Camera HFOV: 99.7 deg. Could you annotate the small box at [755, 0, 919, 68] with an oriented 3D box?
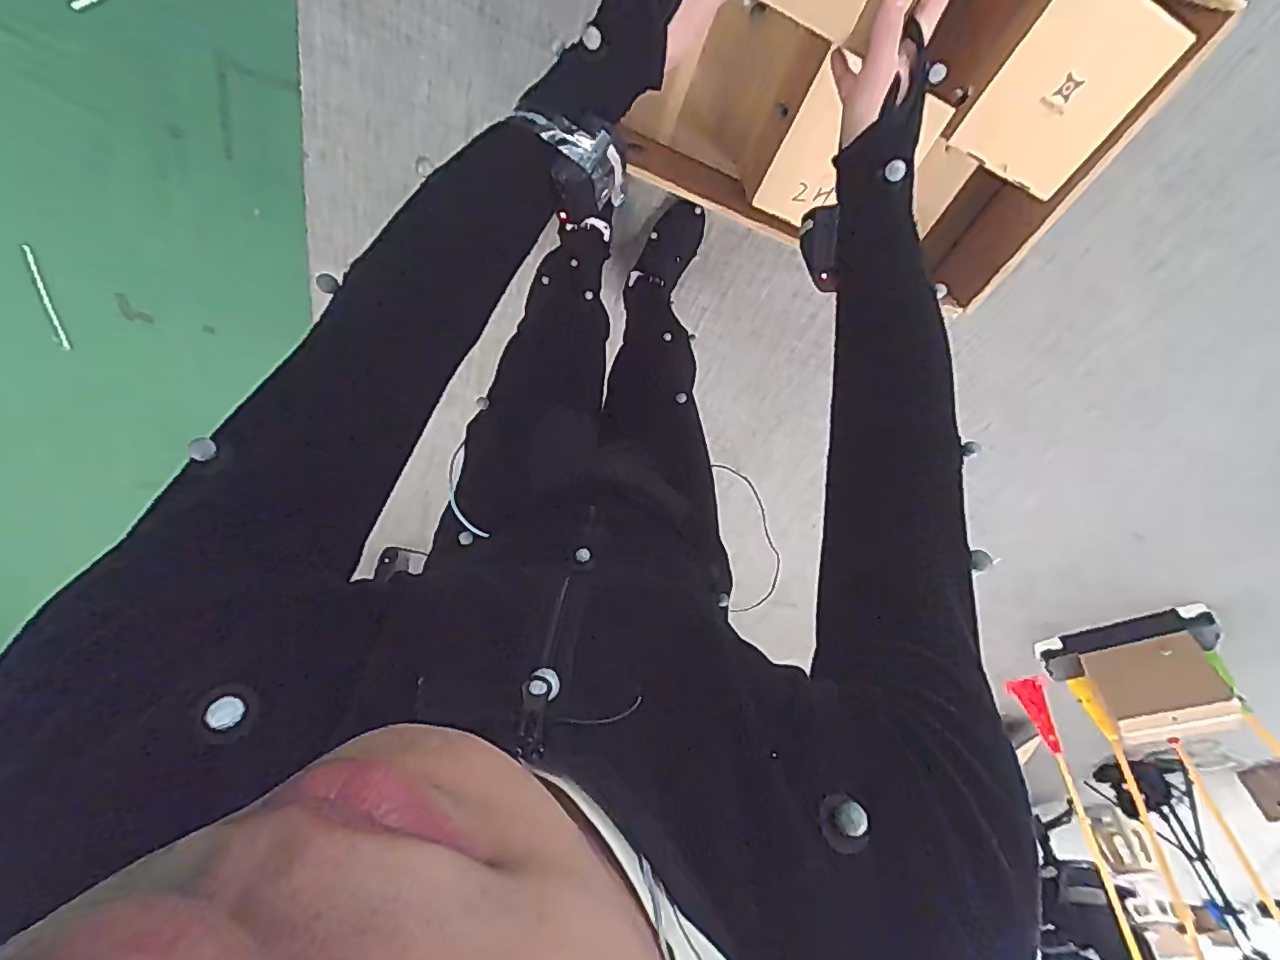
[{"bbox_3d":[0.147,-0.472,0.425,0.179,0.176,0.168,15,134,-16],"label":"small box"}]
